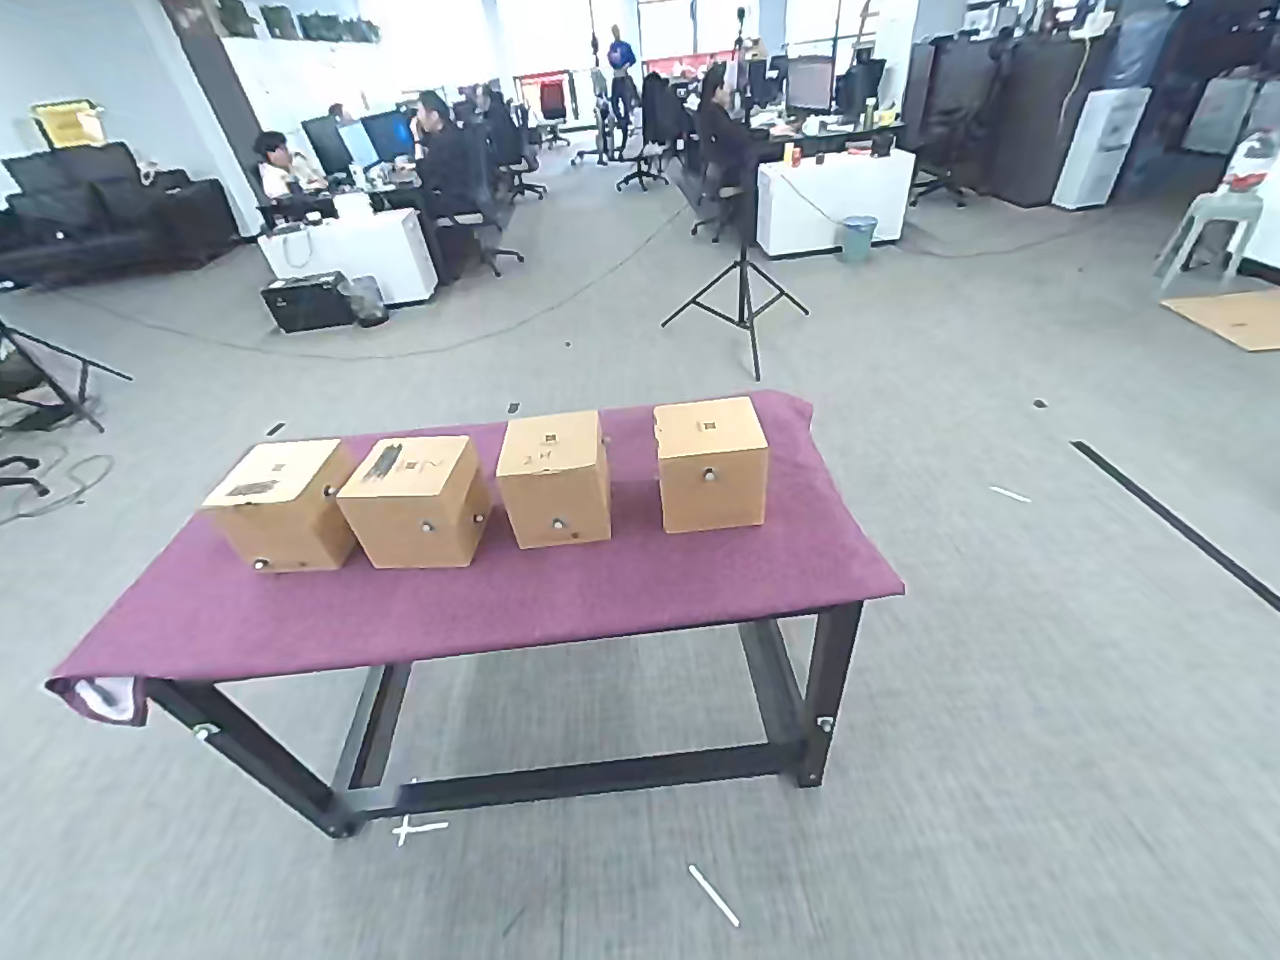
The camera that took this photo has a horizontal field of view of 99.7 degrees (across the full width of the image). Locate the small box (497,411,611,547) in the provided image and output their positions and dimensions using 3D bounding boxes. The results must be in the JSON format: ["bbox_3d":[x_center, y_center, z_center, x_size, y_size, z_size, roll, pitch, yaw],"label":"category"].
[{"bbox_3d":[-0.146,-0.003,0.981,0.168,0.176,0.179,-7,38,2],"label":"small box"}]

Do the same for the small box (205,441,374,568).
[{"bbox_3d":[-0.622,0.049,0.989,0.168,0.176,0.179,-3,39,4],"label":"small box"}]

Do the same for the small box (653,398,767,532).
[{"bbox_3d":[0.119,-0.026,0.967,0.179,0.176,0.168,-6,37,1],"label":"small box"}]
